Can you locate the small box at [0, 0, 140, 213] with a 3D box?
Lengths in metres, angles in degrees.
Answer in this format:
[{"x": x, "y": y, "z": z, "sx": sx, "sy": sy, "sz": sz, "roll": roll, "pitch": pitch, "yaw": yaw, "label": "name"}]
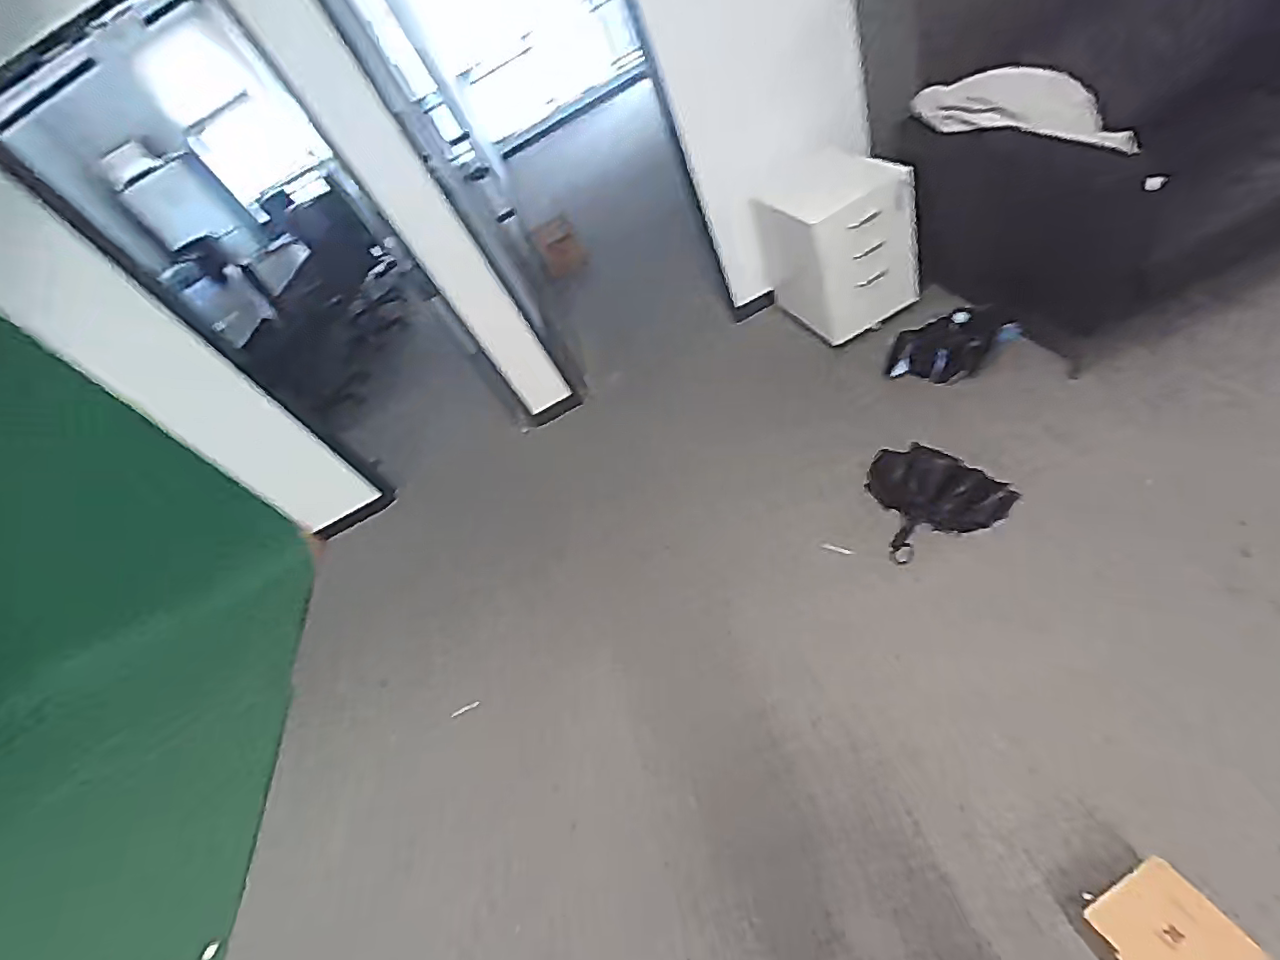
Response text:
[{"x": -0.647, "y": -0.384, "z": 0.508, "sx": 0.168, "sy": 0.176, "sz": 0.179, "roll": -68, "pitch": 157, "yaw": -4, "label": "small box"}]
